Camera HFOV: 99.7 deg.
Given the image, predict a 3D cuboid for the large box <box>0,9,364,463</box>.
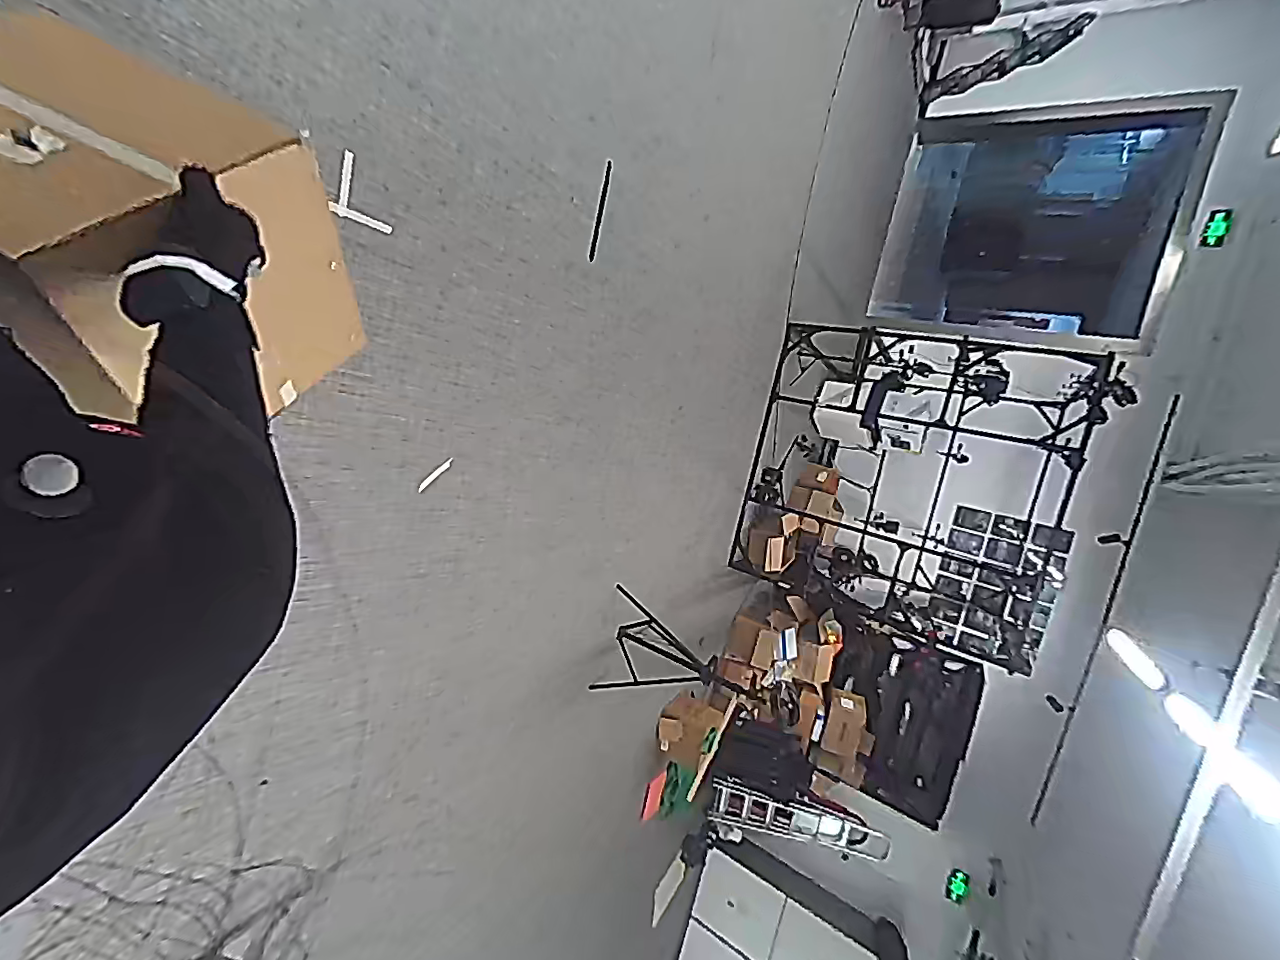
[{"bbox_3d":[-0.644,-0.290,0.675,0.320,0.408,0.320,-61,176,-33],"label":"large box"}]
